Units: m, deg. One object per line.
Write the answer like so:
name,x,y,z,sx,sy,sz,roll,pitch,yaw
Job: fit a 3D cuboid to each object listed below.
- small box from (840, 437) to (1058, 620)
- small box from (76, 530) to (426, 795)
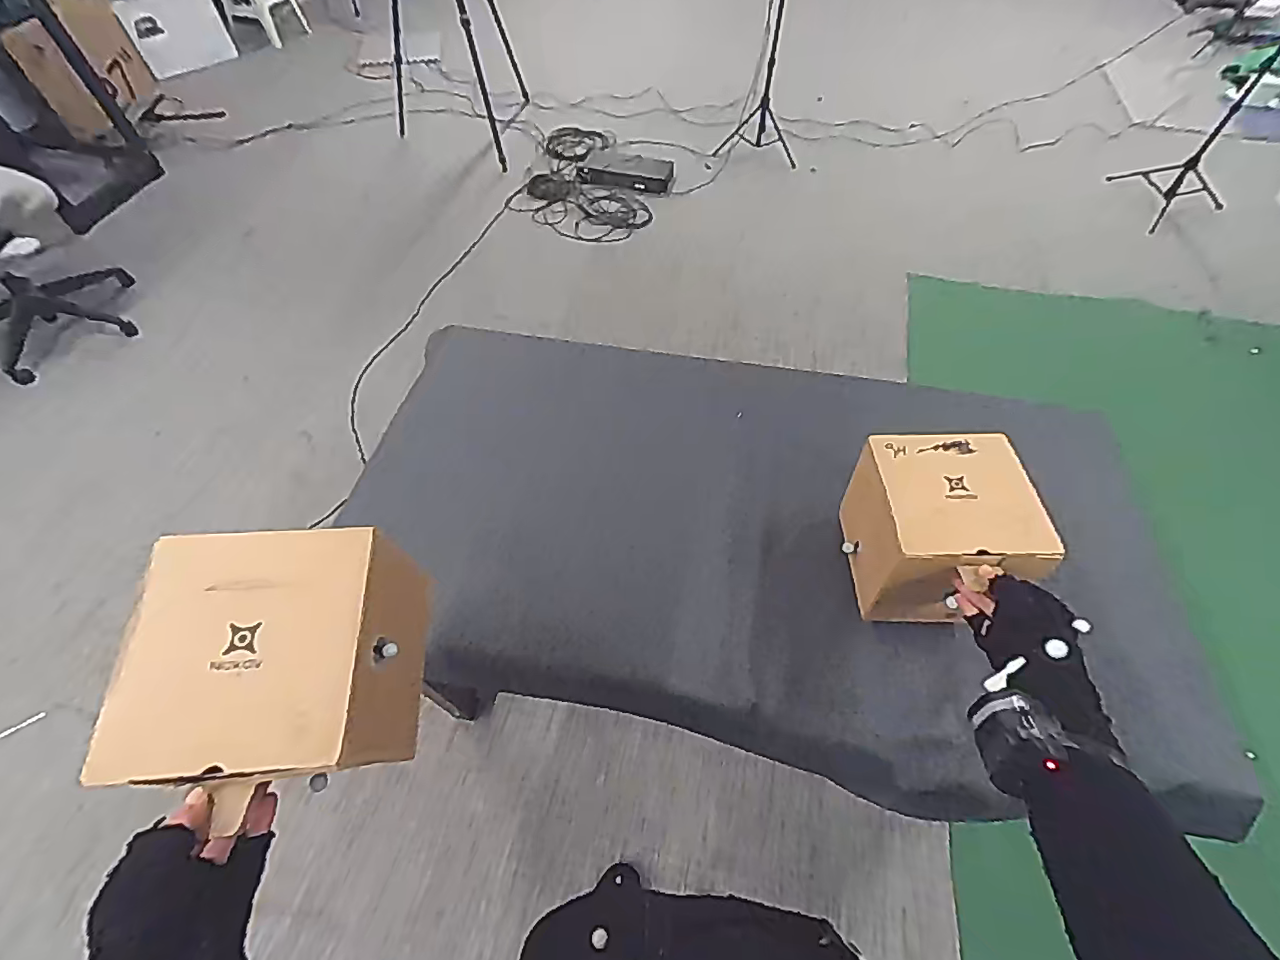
small box,0.365,0.065,0.682,0.168,0.176,0.179,1,53,4
small box,-0.293,0.154,0.460,0.168,0.176,0.179,-2,64,-6
